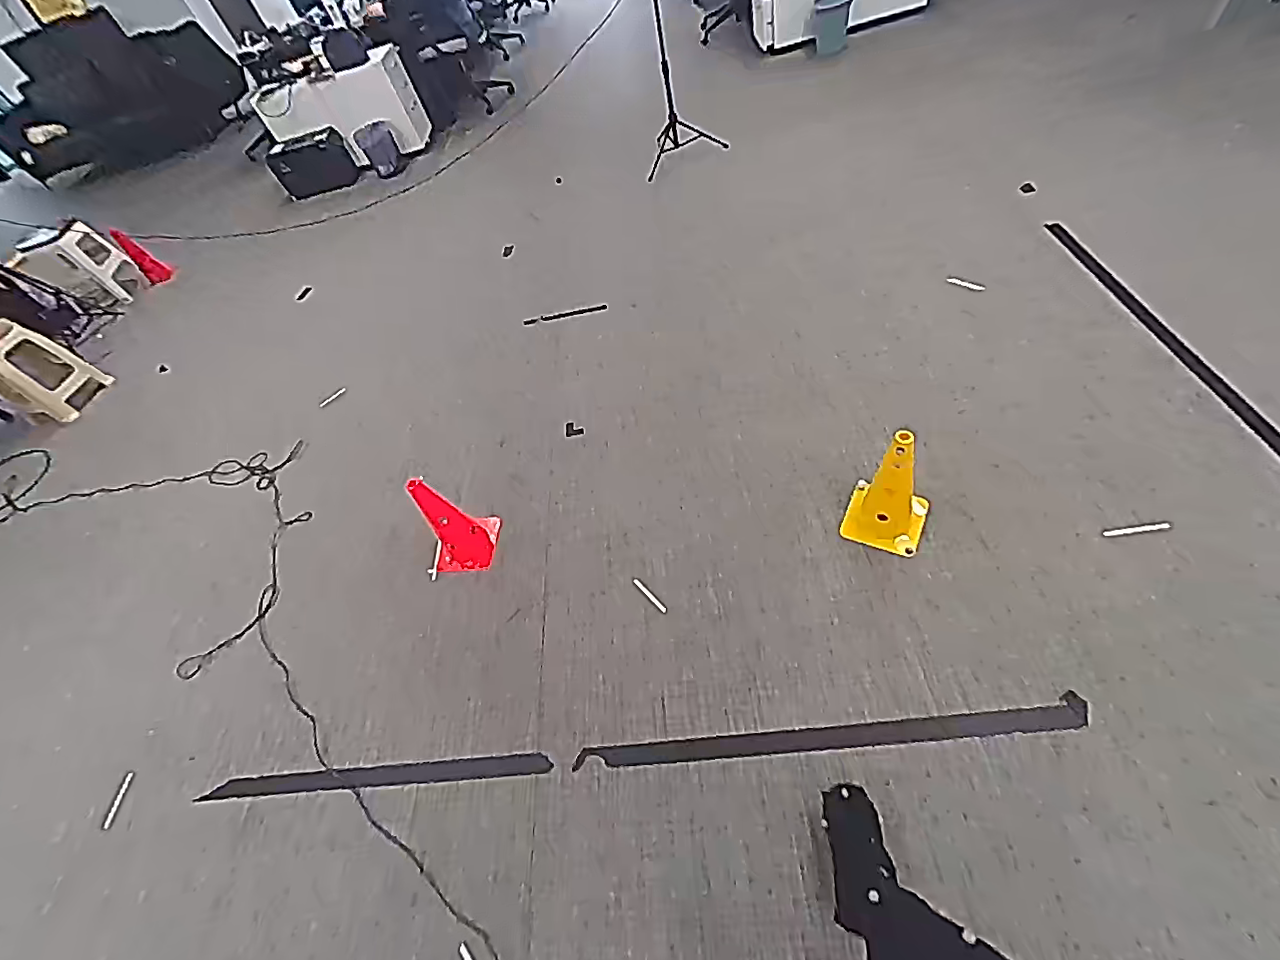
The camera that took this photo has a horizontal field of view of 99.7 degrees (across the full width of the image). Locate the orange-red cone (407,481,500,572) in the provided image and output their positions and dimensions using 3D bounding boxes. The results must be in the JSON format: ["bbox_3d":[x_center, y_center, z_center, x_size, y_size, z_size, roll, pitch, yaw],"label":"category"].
[{"bbox_3d":[-0.610,0.119,1.677,0.199,0.360,0.198,-3,54,12],"label":"orange-red cone"}]
